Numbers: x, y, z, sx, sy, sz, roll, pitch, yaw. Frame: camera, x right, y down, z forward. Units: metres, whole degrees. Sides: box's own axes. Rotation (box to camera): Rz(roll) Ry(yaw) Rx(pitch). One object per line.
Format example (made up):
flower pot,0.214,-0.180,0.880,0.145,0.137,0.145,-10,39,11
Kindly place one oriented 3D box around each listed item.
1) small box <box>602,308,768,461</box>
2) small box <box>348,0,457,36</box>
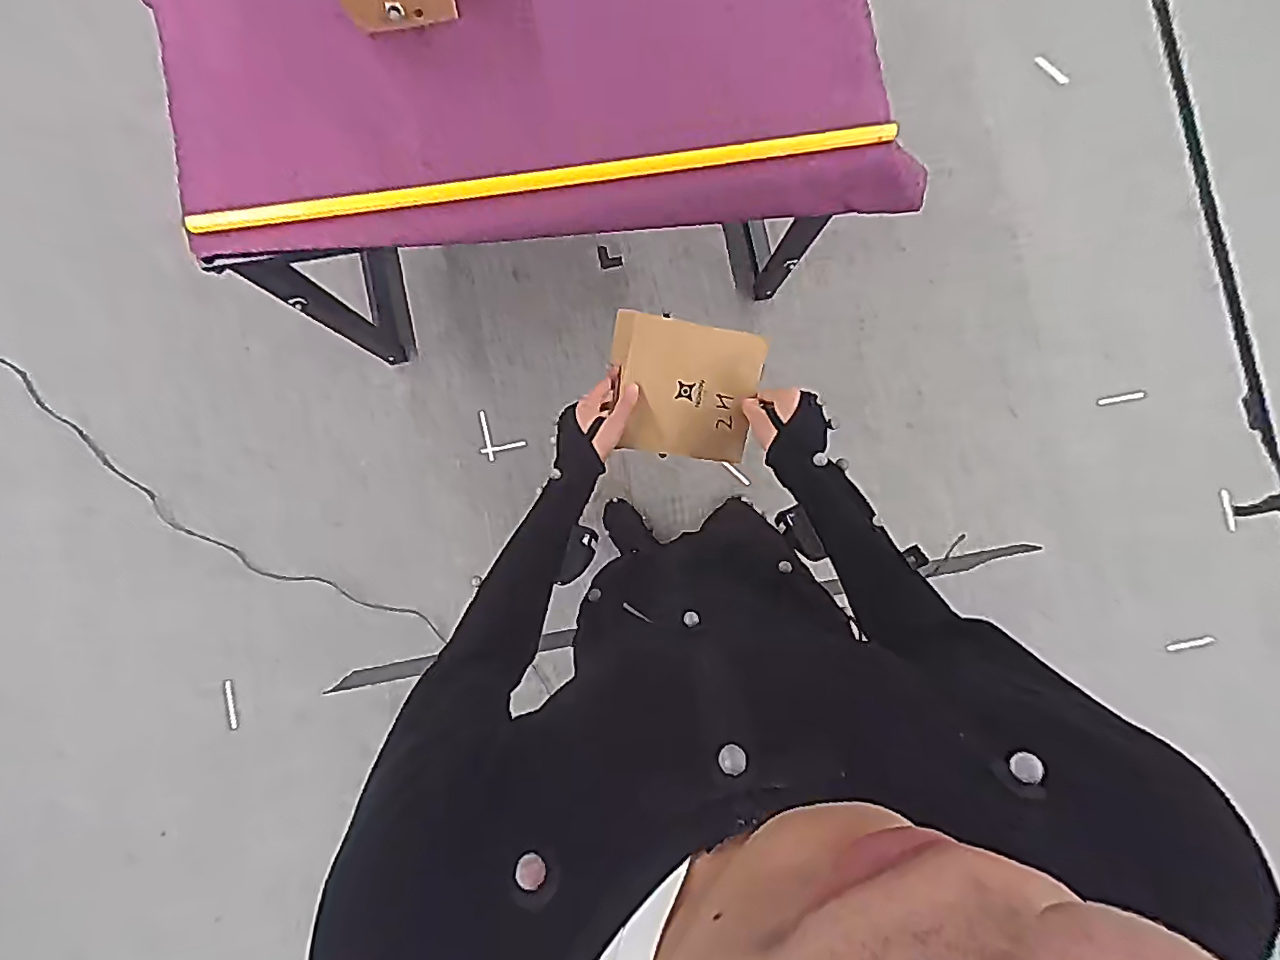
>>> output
small box,0.047,-0.136,0.744,0.179,0.176,0.168,7,107,-12
small box,-0.407,-0.860,0.851,0.168,0.176,0.179,-13,90,-2
